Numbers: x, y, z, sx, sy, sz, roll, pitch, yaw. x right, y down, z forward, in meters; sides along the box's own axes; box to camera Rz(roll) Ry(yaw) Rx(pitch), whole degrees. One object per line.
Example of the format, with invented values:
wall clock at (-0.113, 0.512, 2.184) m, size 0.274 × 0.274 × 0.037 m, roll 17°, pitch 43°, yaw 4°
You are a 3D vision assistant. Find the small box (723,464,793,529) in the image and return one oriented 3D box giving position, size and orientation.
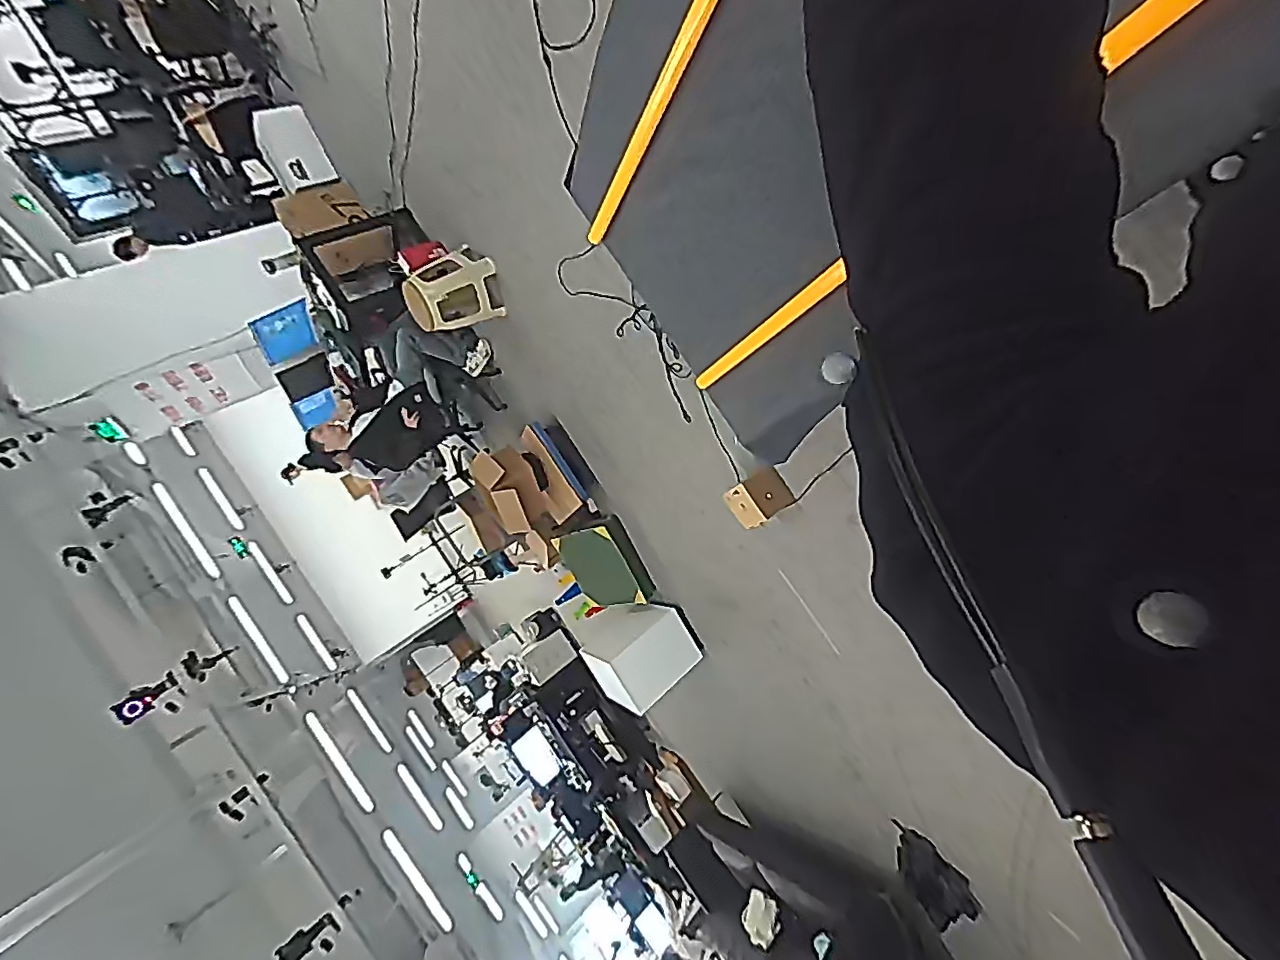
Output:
small box at (0.473, 0.066, 2.149) m, size 0.179 × 0.176 × 0.168 m, roll 55°, pitch 153°, yaw 4°
